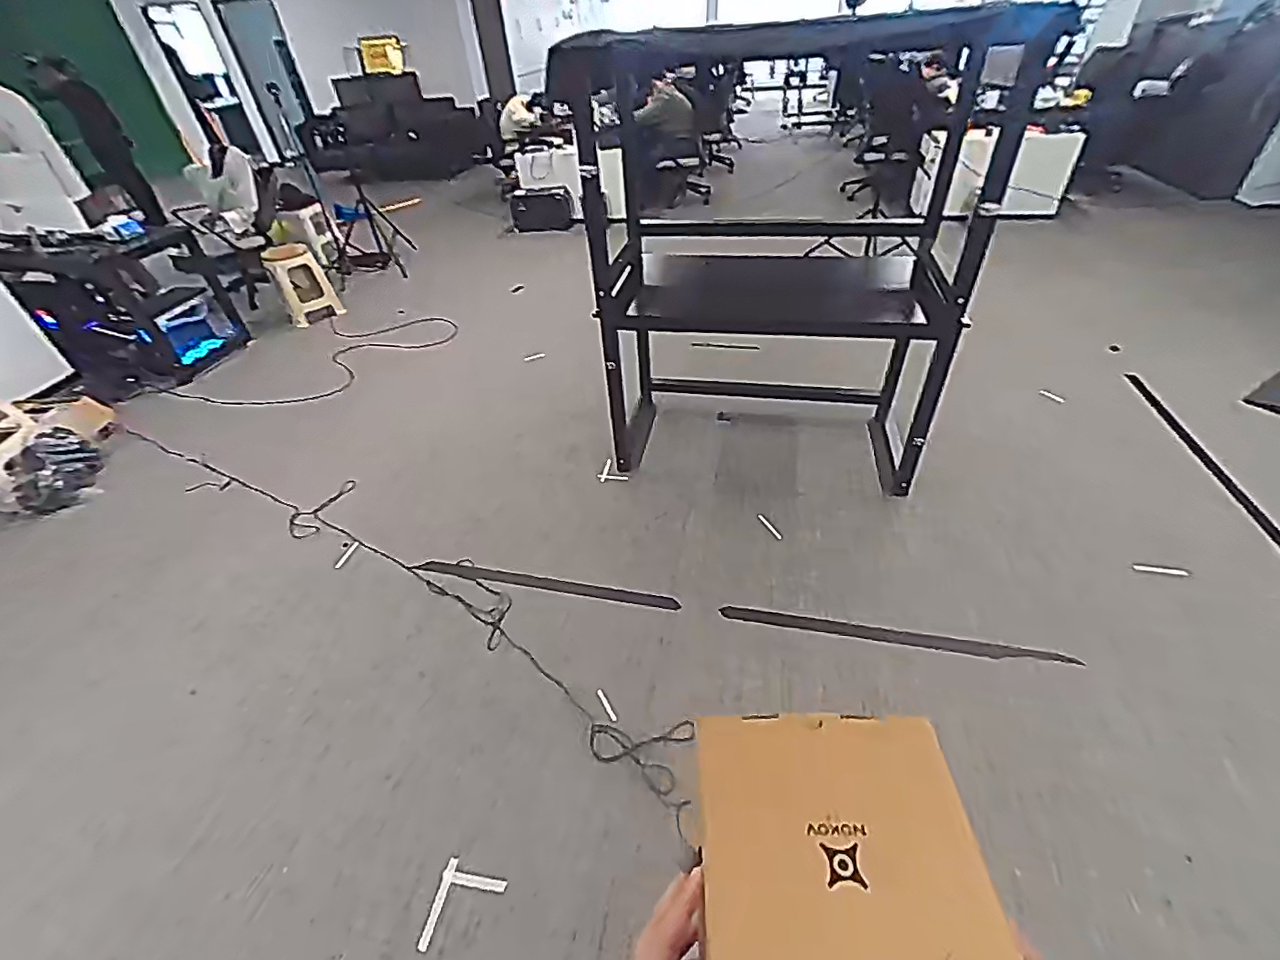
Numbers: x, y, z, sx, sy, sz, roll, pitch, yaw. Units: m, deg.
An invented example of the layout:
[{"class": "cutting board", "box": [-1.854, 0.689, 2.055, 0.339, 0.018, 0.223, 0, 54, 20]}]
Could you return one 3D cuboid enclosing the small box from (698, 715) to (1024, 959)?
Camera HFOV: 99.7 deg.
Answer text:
[{"class": "small box", "box": [0.126, 0.287, 0.372, 0.168, 0.176, 0.179, -1, 38, 3]}]
